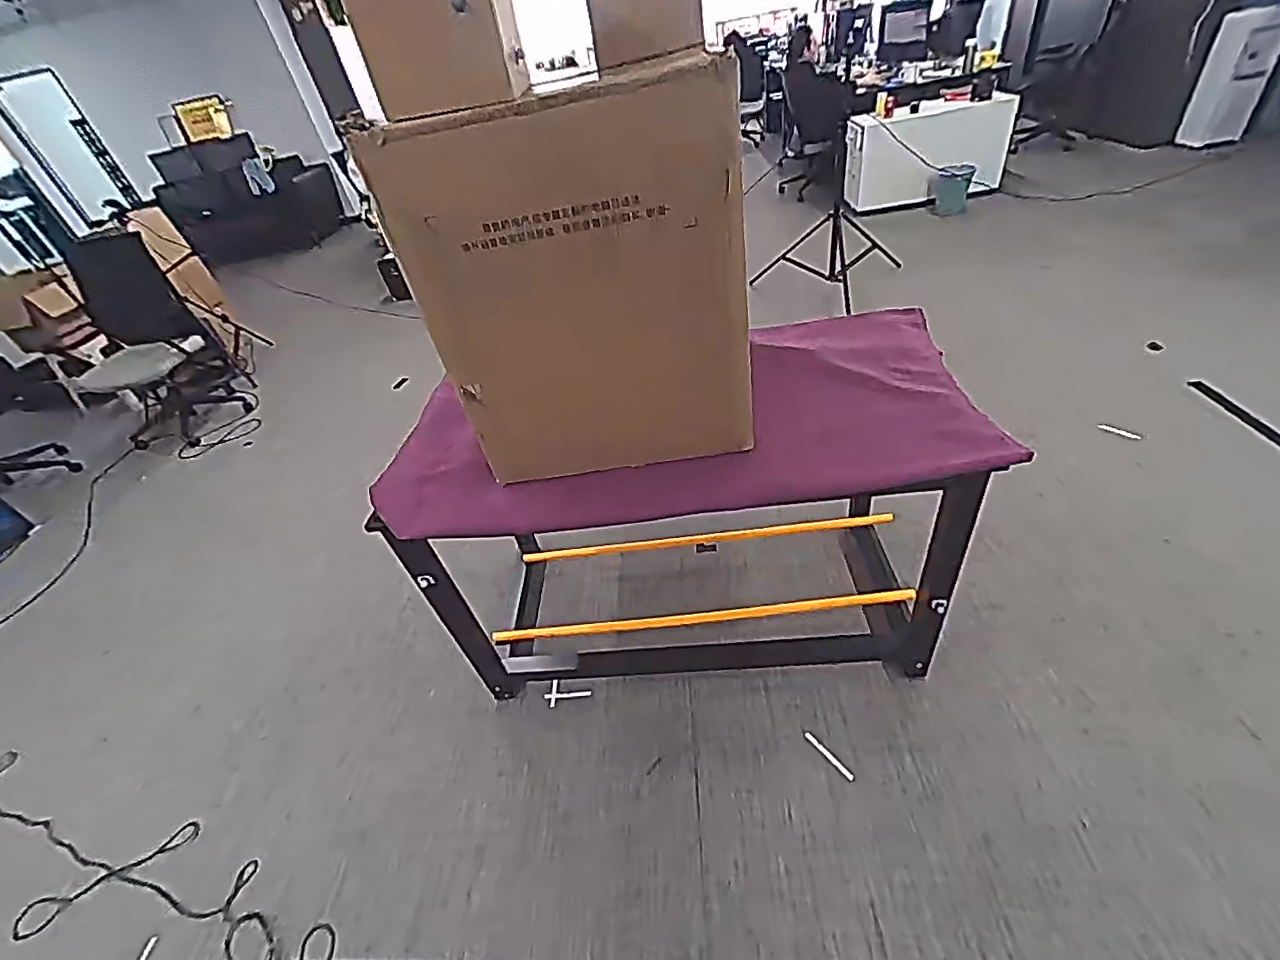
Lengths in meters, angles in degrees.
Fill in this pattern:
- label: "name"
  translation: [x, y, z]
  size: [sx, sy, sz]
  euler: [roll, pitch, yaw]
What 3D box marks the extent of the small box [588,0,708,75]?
- label: "small box"
  translation: [0.015, -0.767, 0.852]
  size: [0.179, 0.176, 0.168]
  euler: [-5, 40, 10]
